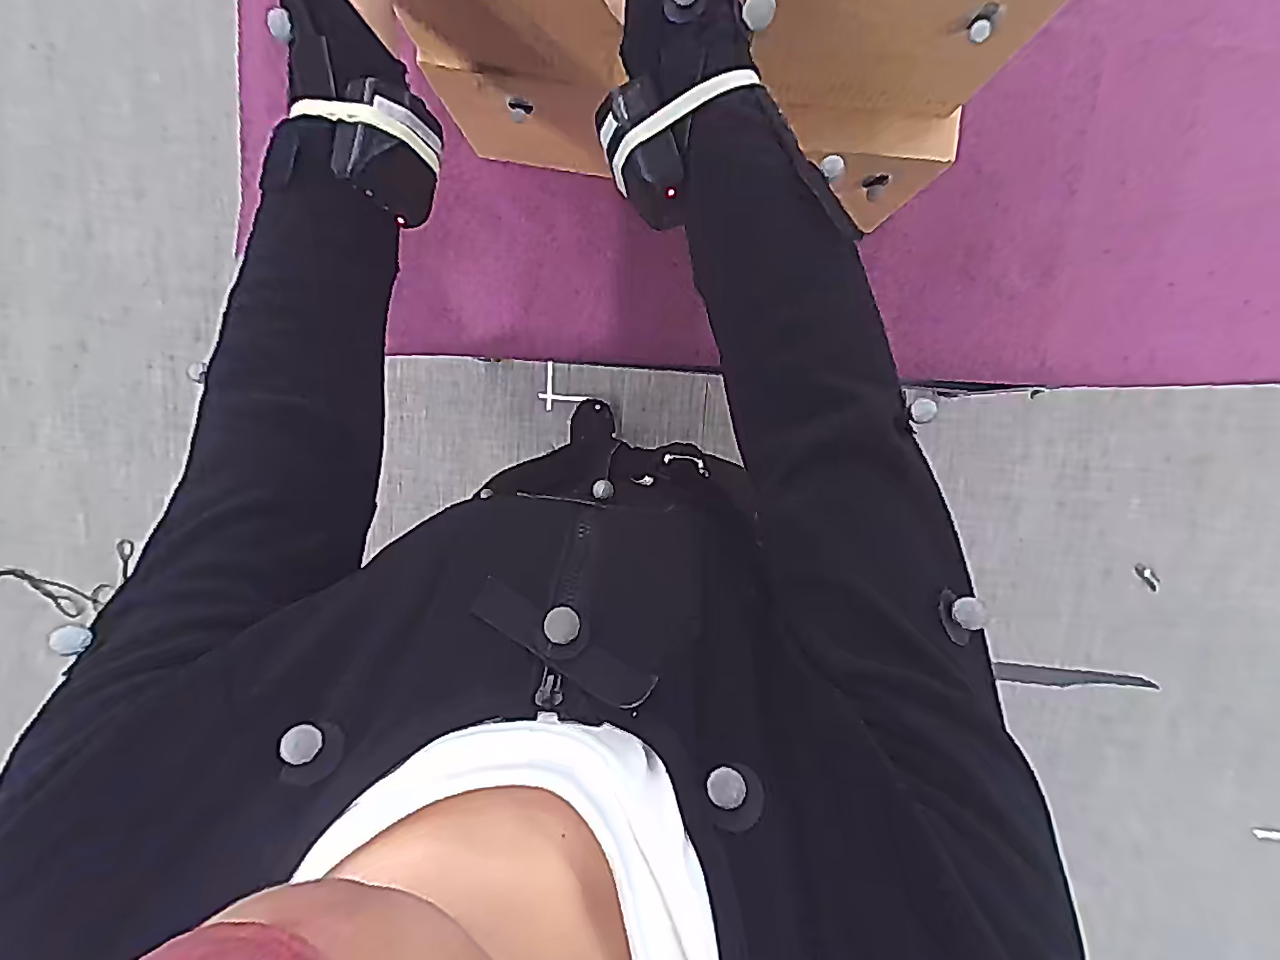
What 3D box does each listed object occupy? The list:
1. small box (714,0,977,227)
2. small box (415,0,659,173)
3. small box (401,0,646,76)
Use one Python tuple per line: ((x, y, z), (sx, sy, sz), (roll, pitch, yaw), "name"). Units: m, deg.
((0.173, -0.352, 0.503), (0.179, 0.176, 0.168), (5, 96, 0), "small box")
((-0.079, -0.411, 0.497), (0.179, 0.176, 0.168), (9, 97, -1), "small box")
((-0.073, -0.396, 0.336), (0.179, 0.176, 0.168), (12, 97, -1), "small box")
